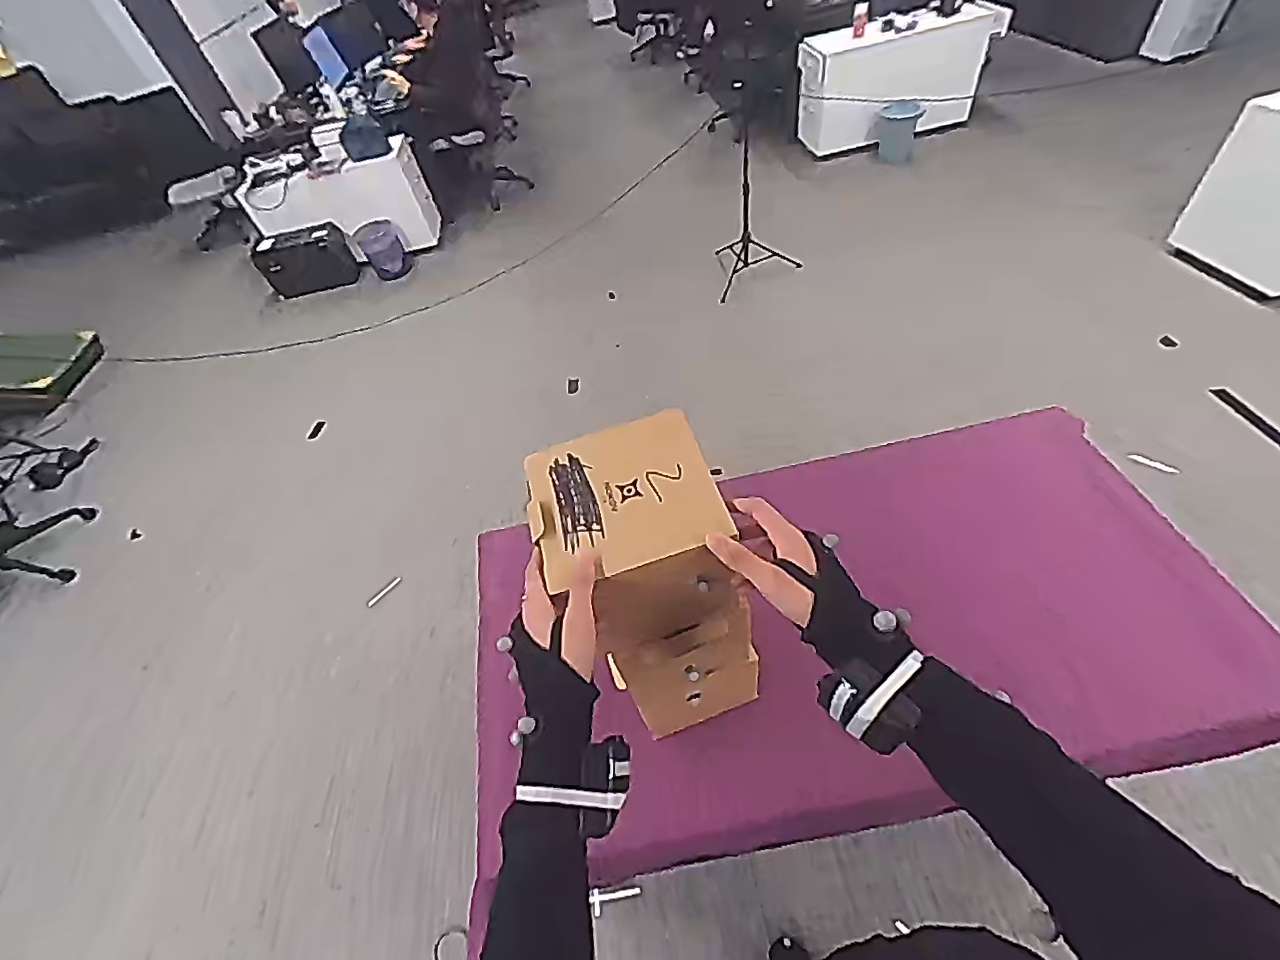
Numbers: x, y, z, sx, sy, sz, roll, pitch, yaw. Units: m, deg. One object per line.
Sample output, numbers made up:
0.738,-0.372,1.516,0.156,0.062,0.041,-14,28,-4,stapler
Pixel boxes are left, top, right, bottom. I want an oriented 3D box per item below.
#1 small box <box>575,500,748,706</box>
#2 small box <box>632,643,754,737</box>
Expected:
0.029,0.163,0.711,0.168,0.176,0.179,-21,50,-6,small box
0.065,0.269,0.833,0.179,0.176,0.168,-20,50,-6,small box
